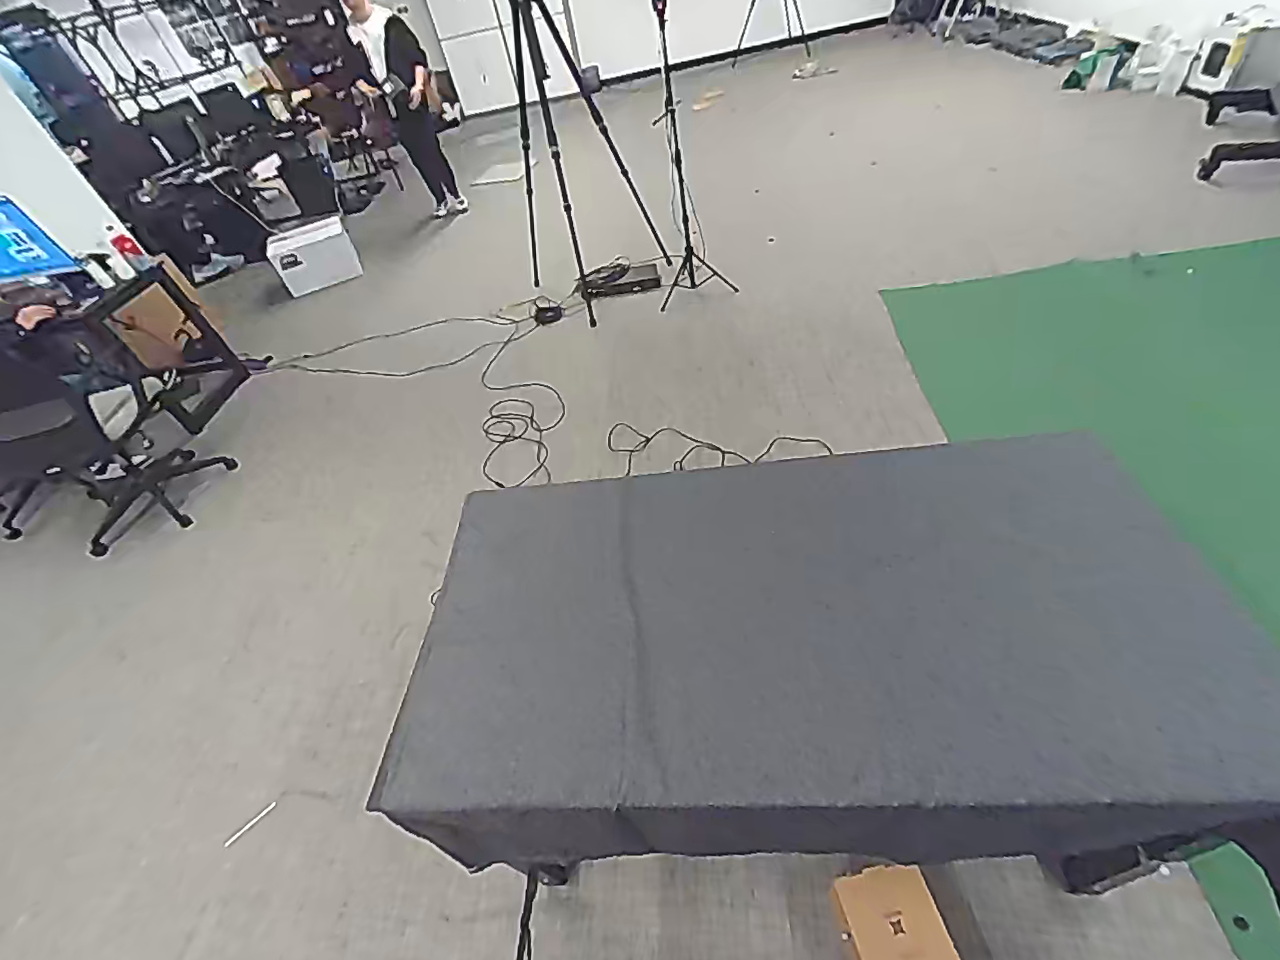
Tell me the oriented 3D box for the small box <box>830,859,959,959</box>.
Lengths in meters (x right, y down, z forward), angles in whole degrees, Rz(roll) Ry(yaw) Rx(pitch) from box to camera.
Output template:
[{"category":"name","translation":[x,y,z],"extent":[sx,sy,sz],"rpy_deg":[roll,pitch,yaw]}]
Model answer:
[{"category":"small box","translation":[0.480,0.868,1.041],"extent":[0.168,0.176,0.179],"rpy_deg":[-14,44,0]}]
